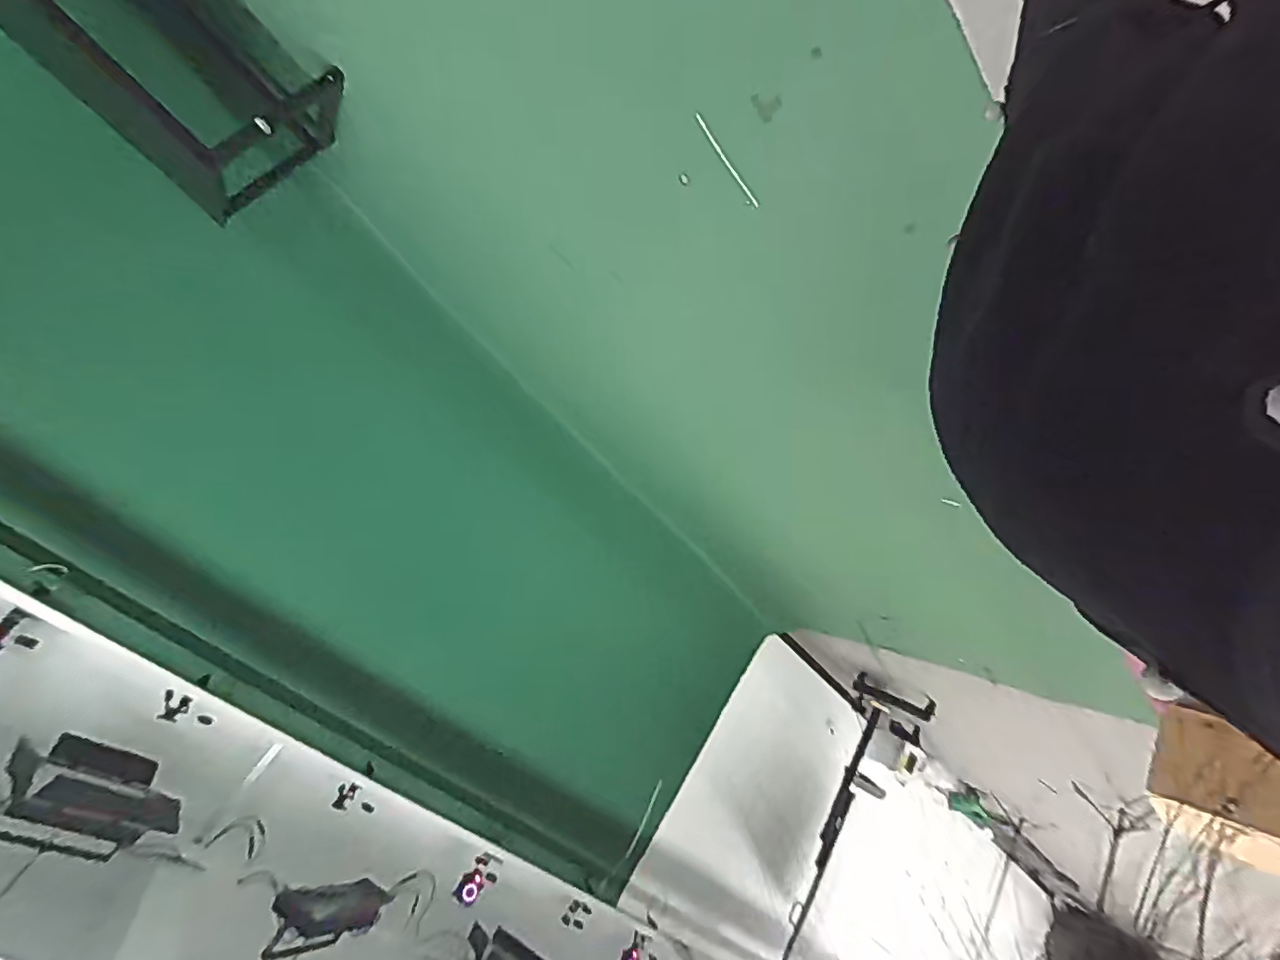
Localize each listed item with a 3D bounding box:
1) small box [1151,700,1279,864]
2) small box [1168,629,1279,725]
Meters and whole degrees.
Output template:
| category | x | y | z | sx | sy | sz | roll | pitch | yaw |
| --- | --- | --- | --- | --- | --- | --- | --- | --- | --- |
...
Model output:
| category | x | y | z | sx | sy | sz | roll | pitch | yaw |
| --- | --- | --- | --- | --- | --- | --- | --- | --- | --- |
| small box | 0.995 | 0.501 | 0.898 | 0.179 | 0.176 | 0.168 | 45 | 157 | -23 |
| small box | 1.096 | 0.389 | 0.964 | 0.168 | 0.176 | 0.179 | 45 | 158 | -21 |
